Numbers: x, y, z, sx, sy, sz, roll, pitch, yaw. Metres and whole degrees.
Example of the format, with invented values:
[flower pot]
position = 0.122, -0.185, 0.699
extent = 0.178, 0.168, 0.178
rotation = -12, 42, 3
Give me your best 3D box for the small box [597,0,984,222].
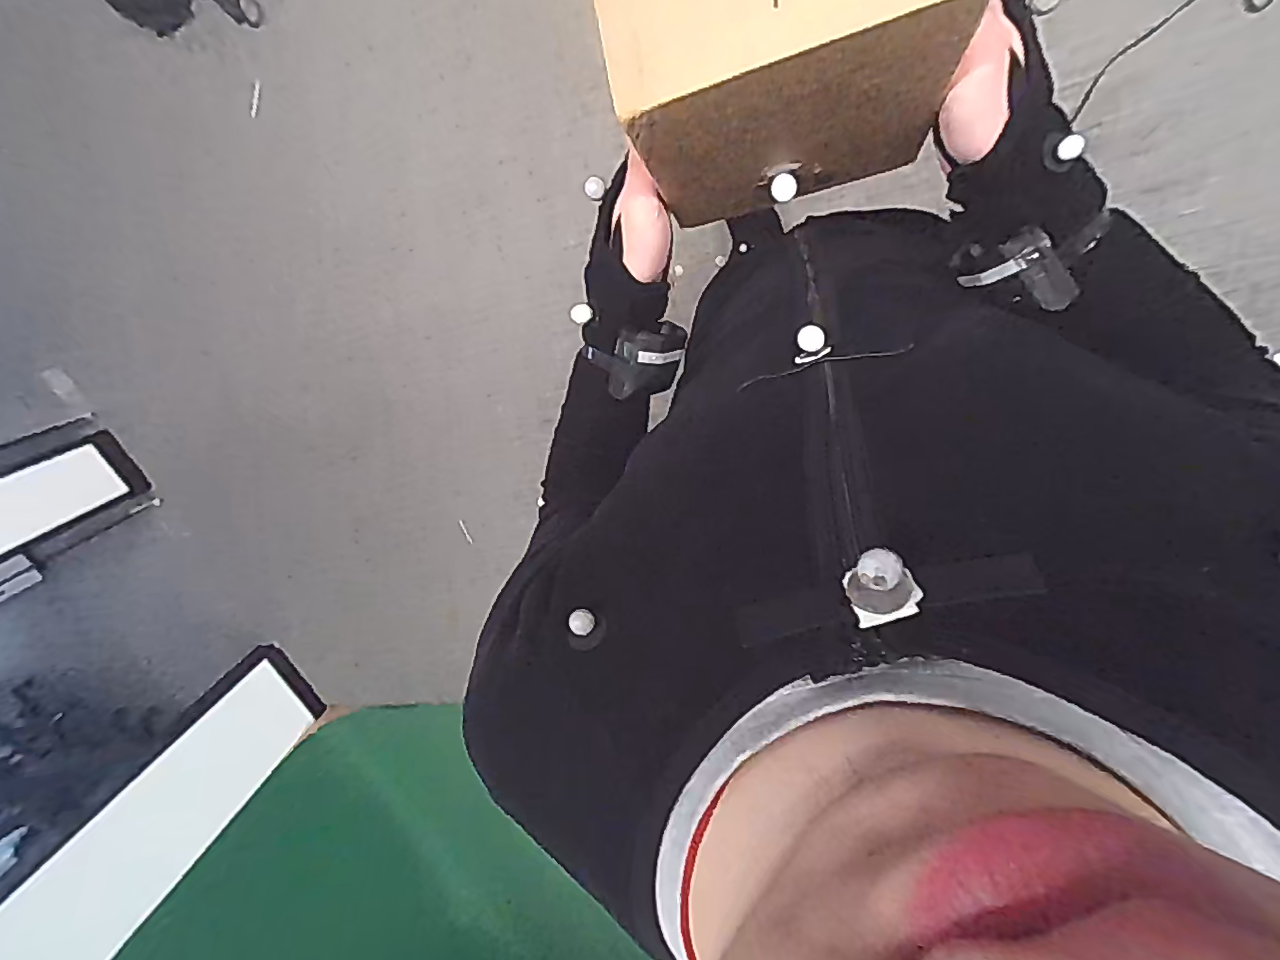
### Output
[small box]
position = 0.072, -0.281, 0.309
extent = 0.168, 0.176, 0.179
rotation = -8, 94, 16
